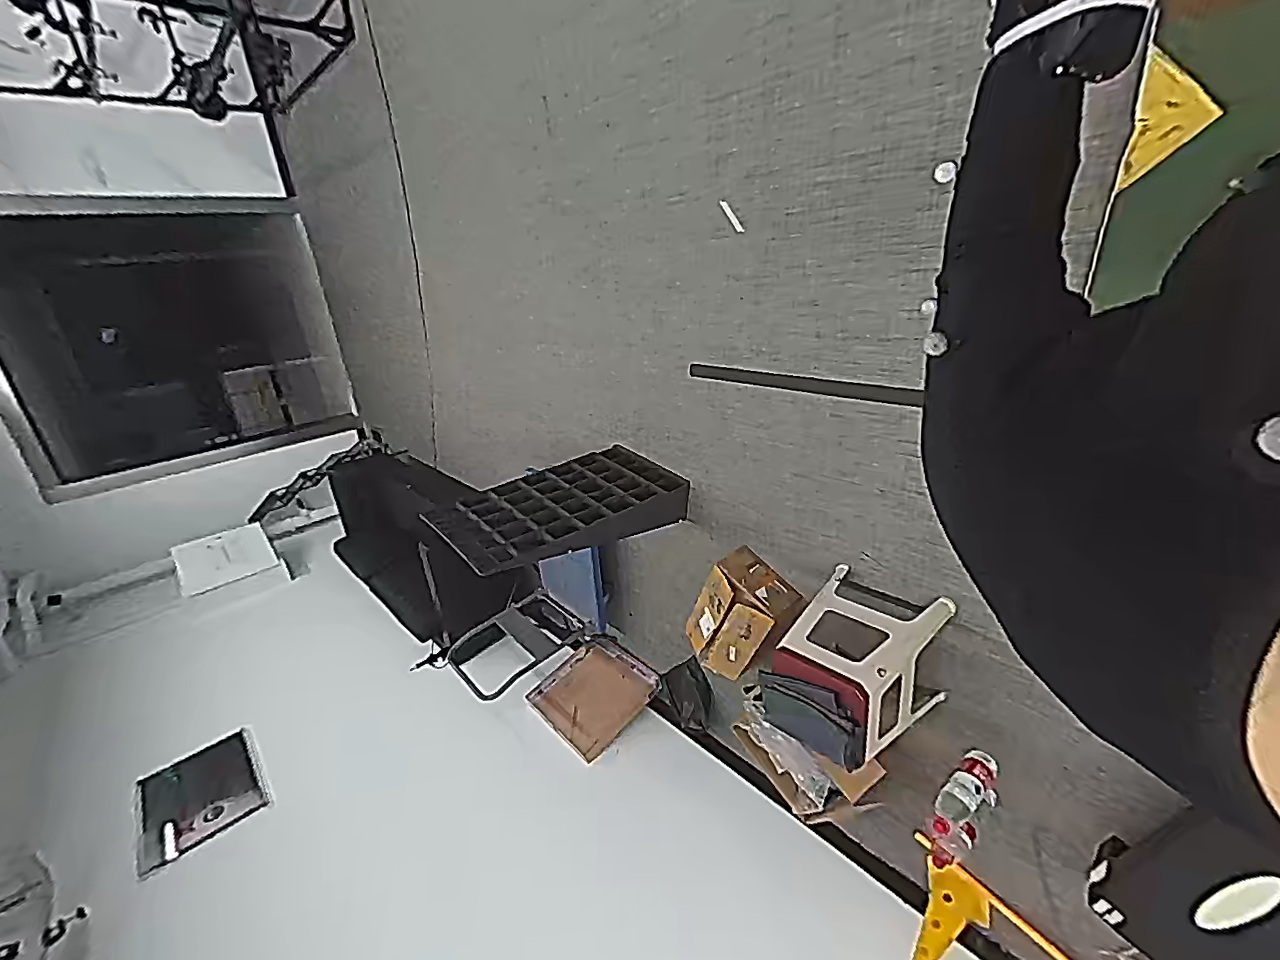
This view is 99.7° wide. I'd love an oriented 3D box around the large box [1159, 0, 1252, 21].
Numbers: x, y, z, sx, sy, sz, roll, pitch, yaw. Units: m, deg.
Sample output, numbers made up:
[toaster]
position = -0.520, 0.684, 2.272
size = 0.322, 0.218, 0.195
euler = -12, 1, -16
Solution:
[large box]
position = 0.521, -0.523, 0.258
size = 0.408, 0.320, 0.320
euler = 7, 119, 50
